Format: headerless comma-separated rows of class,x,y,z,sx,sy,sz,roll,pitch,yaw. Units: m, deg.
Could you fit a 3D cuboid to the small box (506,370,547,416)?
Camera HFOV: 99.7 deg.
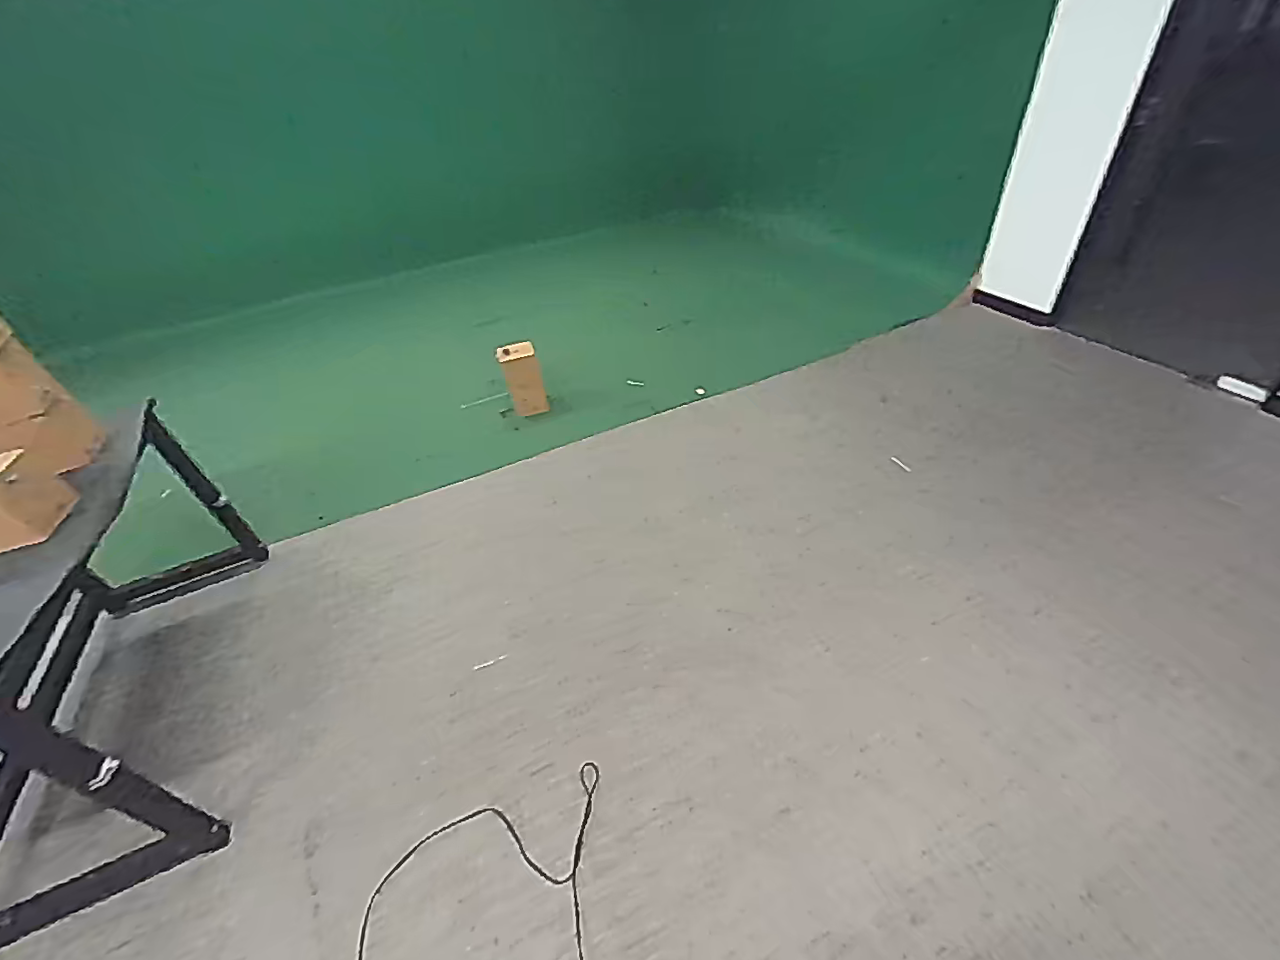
small box,-0.595,-0.452,2.839,0.168,0.176,0.179,-15,41,-8

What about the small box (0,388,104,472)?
small box,-1.658,-0.125,1.495,0.179,0.176,0.168,-22,43,-12

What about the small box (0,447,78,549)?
small box,-1.508,0.055,1.264,0.179,0.176,0.168,-16,41,-6

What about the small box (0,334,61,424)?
small box,-1.675,-0.246,1.388,0.179,0.176,0.168,-24,45,-16

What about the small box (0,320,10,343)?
small box,-1.690,-0.372,1.281,0.179,0.176,0.168,-27,46,-18
